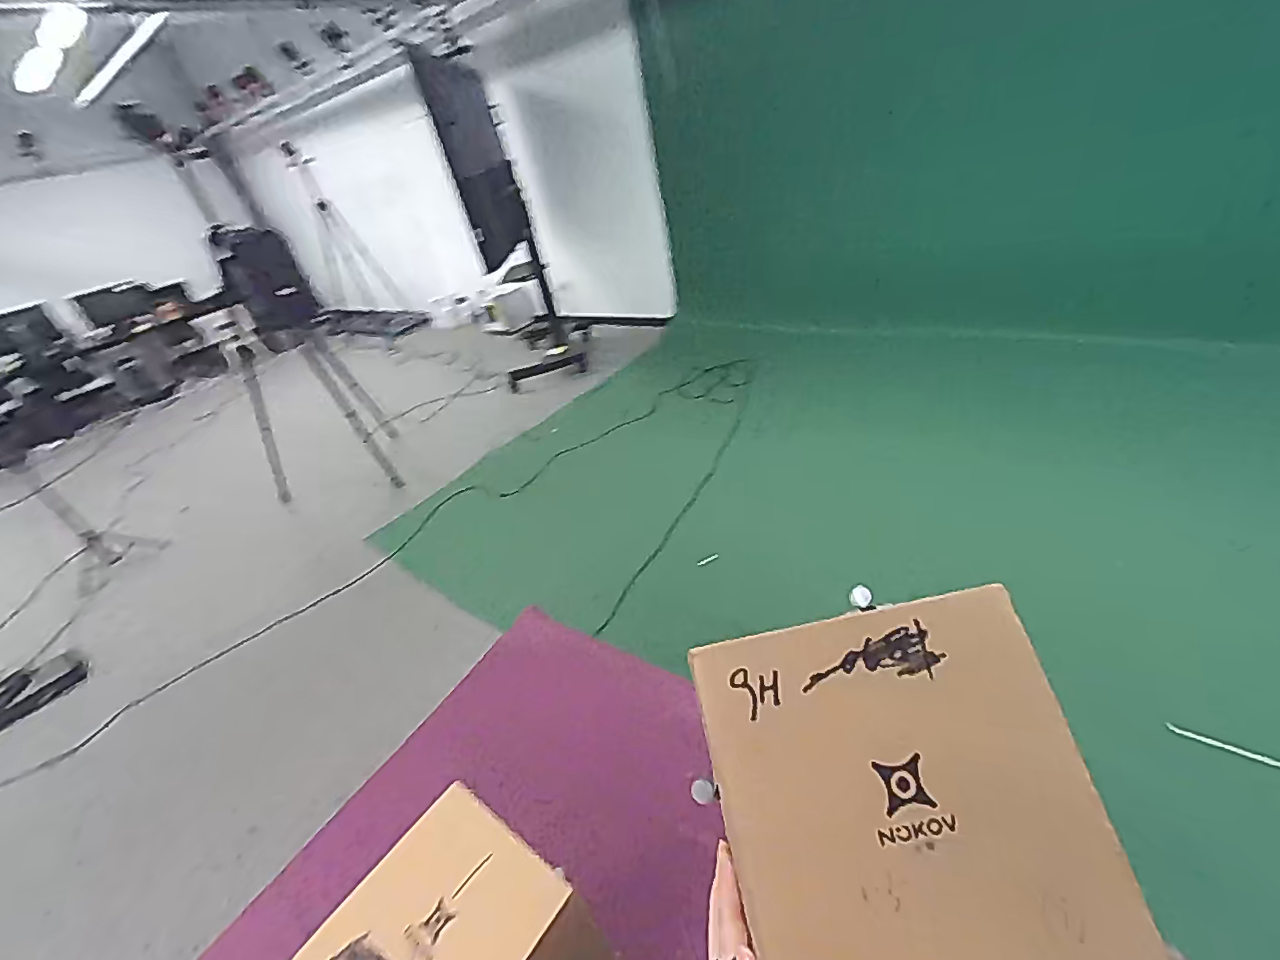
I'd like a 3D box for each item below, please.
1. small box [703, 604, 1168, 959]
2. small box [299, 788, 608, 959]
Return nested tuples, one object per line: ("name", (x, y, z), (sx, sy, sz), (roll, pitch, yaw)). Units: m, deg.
("small box", (0.136, 0.181, 0.323), (0.168, 0.176, 0.179), (-11, 71, 1))
("small box", (-0.150, 0.426, 0.470), (0.168, 0.176, 0.179), (15, 42, 36))
